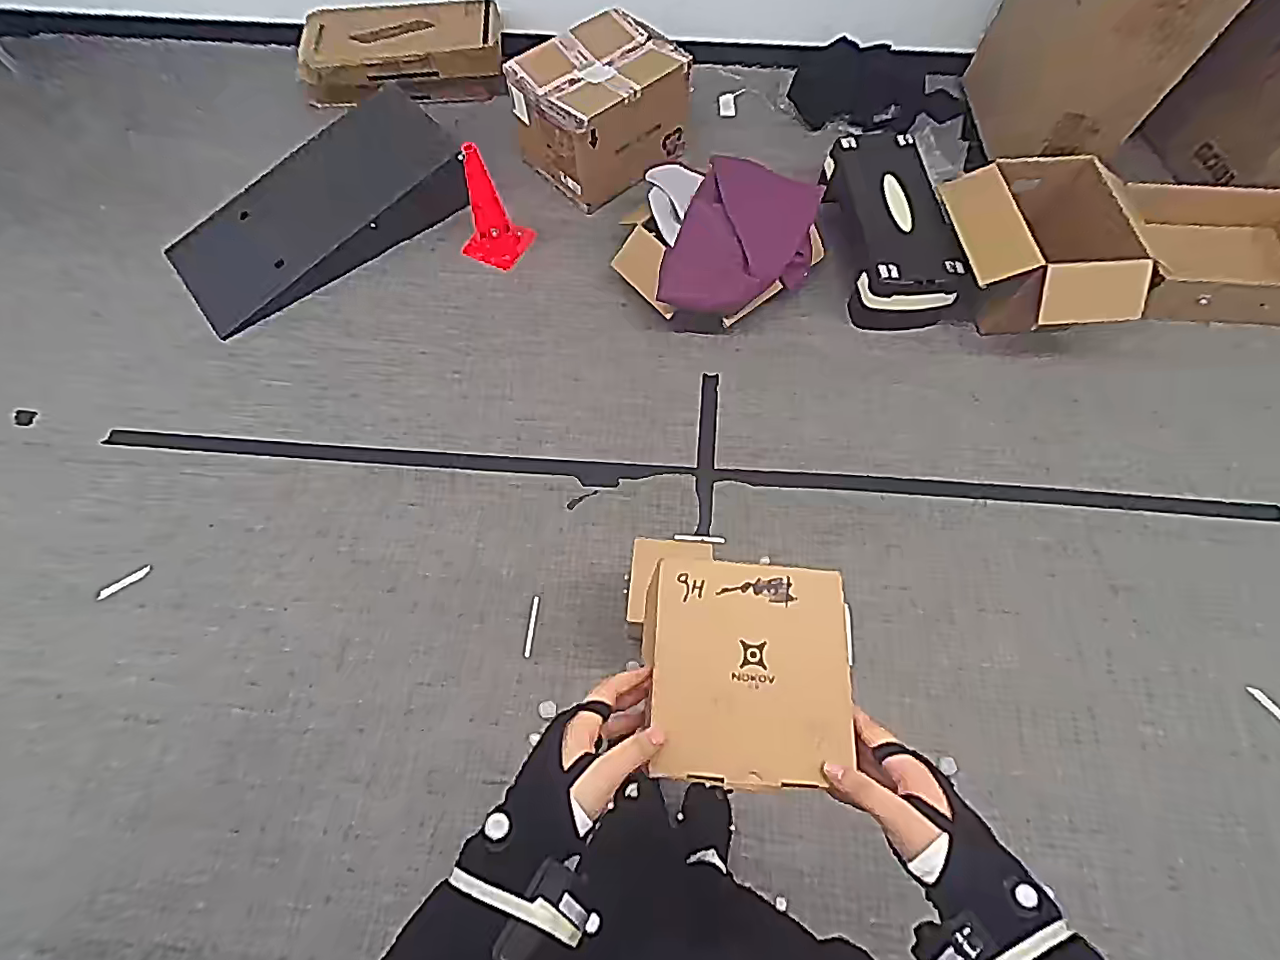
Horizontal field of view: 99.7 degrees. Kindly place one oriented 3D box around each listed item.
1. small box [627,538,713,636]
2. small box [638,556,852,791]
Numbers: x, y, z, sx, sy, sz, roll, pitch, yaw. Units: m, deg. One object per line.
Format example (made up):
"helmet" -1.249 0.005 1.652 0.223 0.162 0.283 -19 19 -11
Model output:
"small box" 0.063 0.239 1.160 0.168 0.176 0.179 5 67 3
"small box" 0.088 0.184 0.525 0.168 0.176 0.179 5 67 -2
